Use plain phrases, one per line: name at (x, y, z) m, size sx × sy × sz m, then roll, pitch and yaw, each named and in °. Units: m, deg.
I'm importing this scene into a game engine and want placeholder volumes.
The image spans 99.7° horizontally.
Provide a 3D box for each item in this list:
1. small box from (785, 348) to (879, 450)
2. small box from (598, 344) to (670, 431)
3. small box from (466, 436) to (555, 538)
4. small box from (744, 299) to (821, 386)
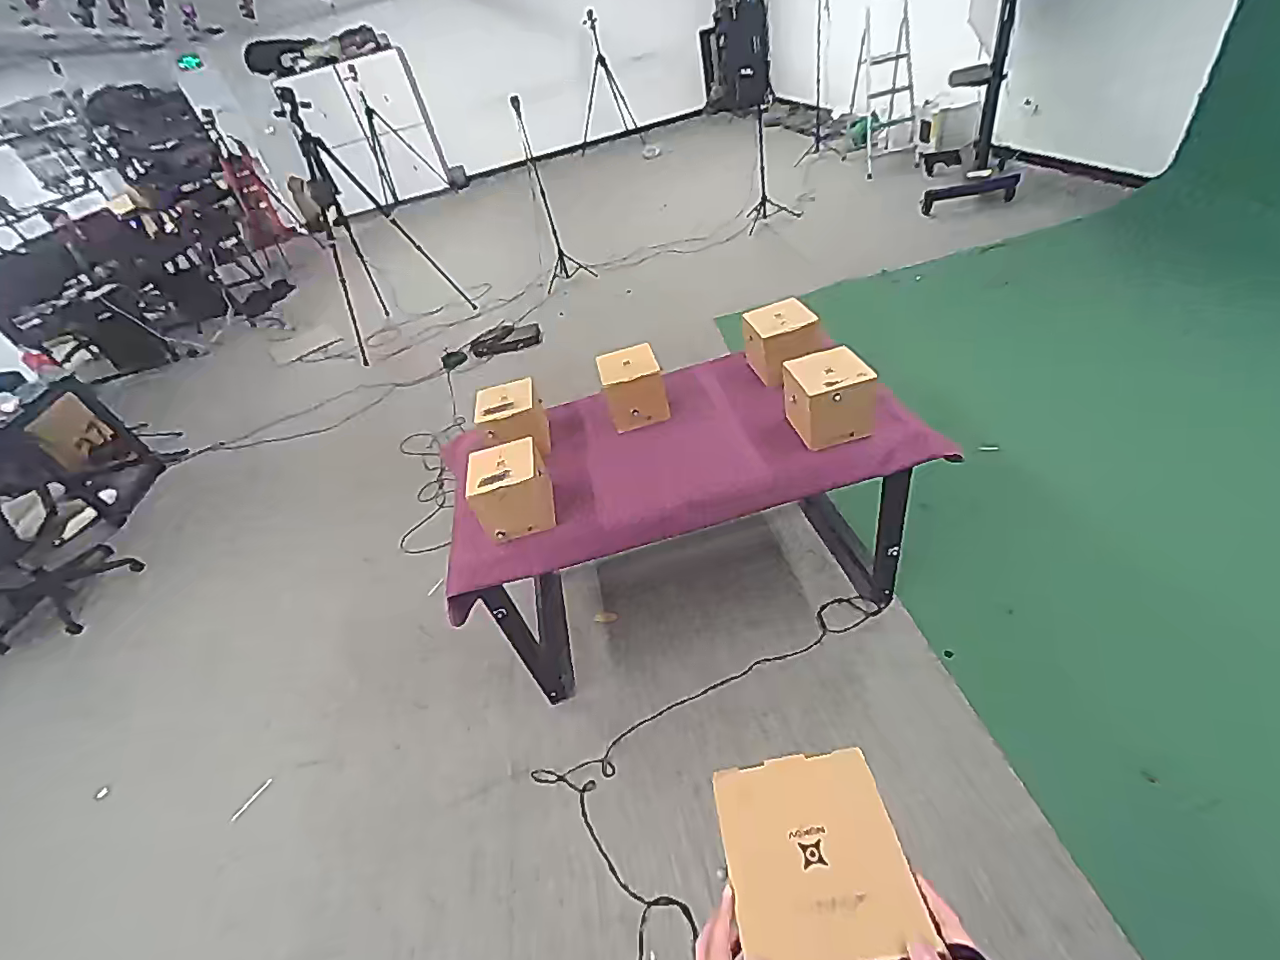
small box at (0.471, -0.202, 1.346) m, size 0.168 × 0.176 × 0.179 m, roll -16°, pitch 38°, yaw 1°
small box at (-0.017, -0.269, 1.582) m, size 0.168 × 0.176 × 0.179 m, roll -16°, pitch 42°, yaw -1°
small box at (-0.314, 0.023, 1.339) m, size 0.168 × 0.176 × 0.179 m, roll -15°, pitch 40°, yaw -1°
small box at (0.417, -0.403, 1.589) m, size 0.168 × 0.176 × 0.179 m, roll -19°, pitch 41°, yaw 1°
